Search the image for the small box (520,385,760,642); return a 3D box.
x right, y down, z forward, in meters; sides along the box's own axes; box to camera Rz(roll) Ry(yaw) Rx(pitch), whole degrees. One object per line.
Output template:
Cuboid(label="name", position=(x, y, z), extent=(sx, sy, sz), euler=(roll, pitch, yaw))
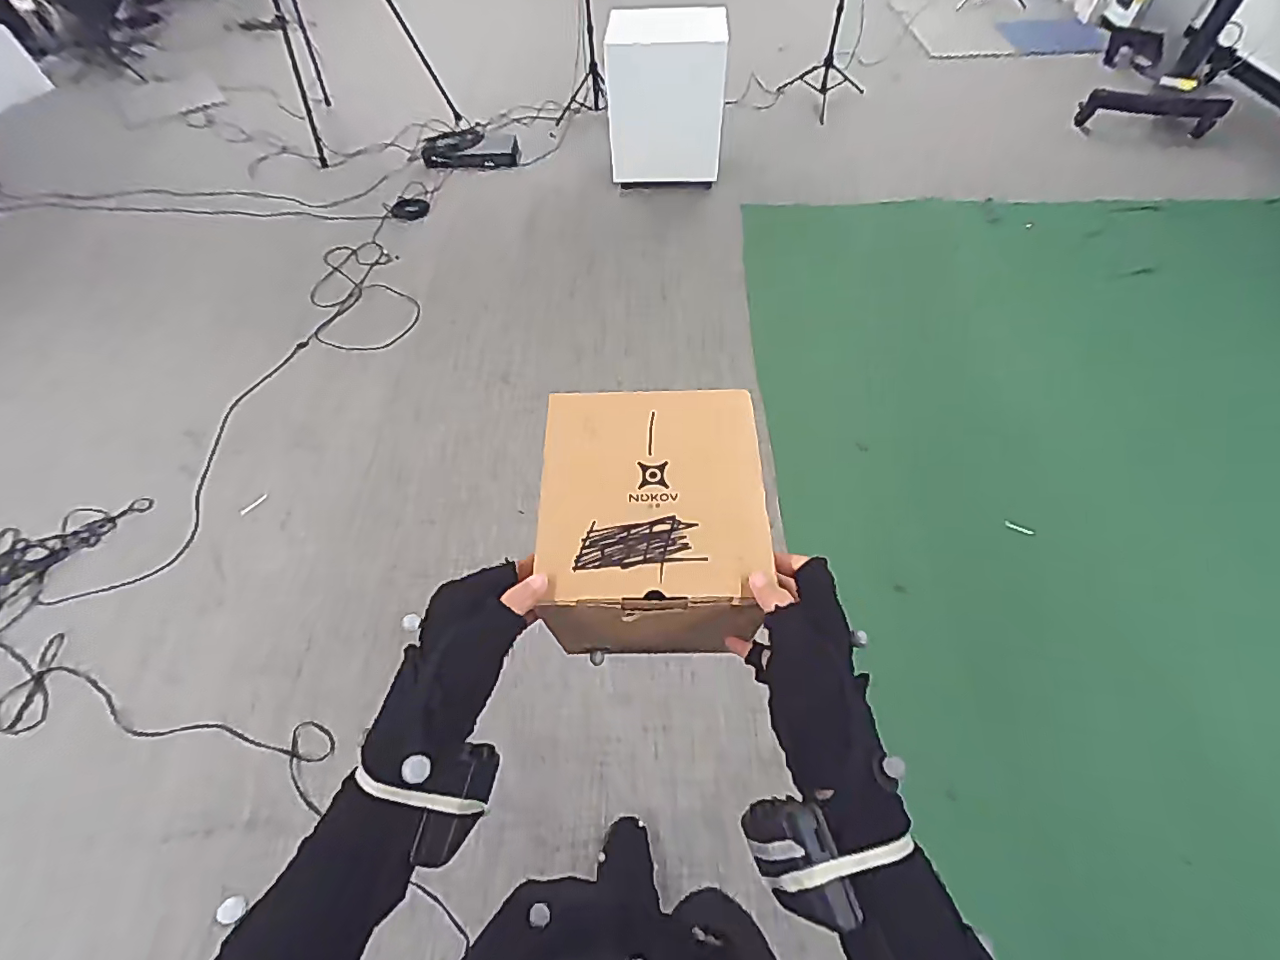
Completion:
Cuboid(label="small box", position=(0.004, 0.039, 0.470), extent=(0.168, 0.176, 0.179), euler=(-1, 60, 1))
